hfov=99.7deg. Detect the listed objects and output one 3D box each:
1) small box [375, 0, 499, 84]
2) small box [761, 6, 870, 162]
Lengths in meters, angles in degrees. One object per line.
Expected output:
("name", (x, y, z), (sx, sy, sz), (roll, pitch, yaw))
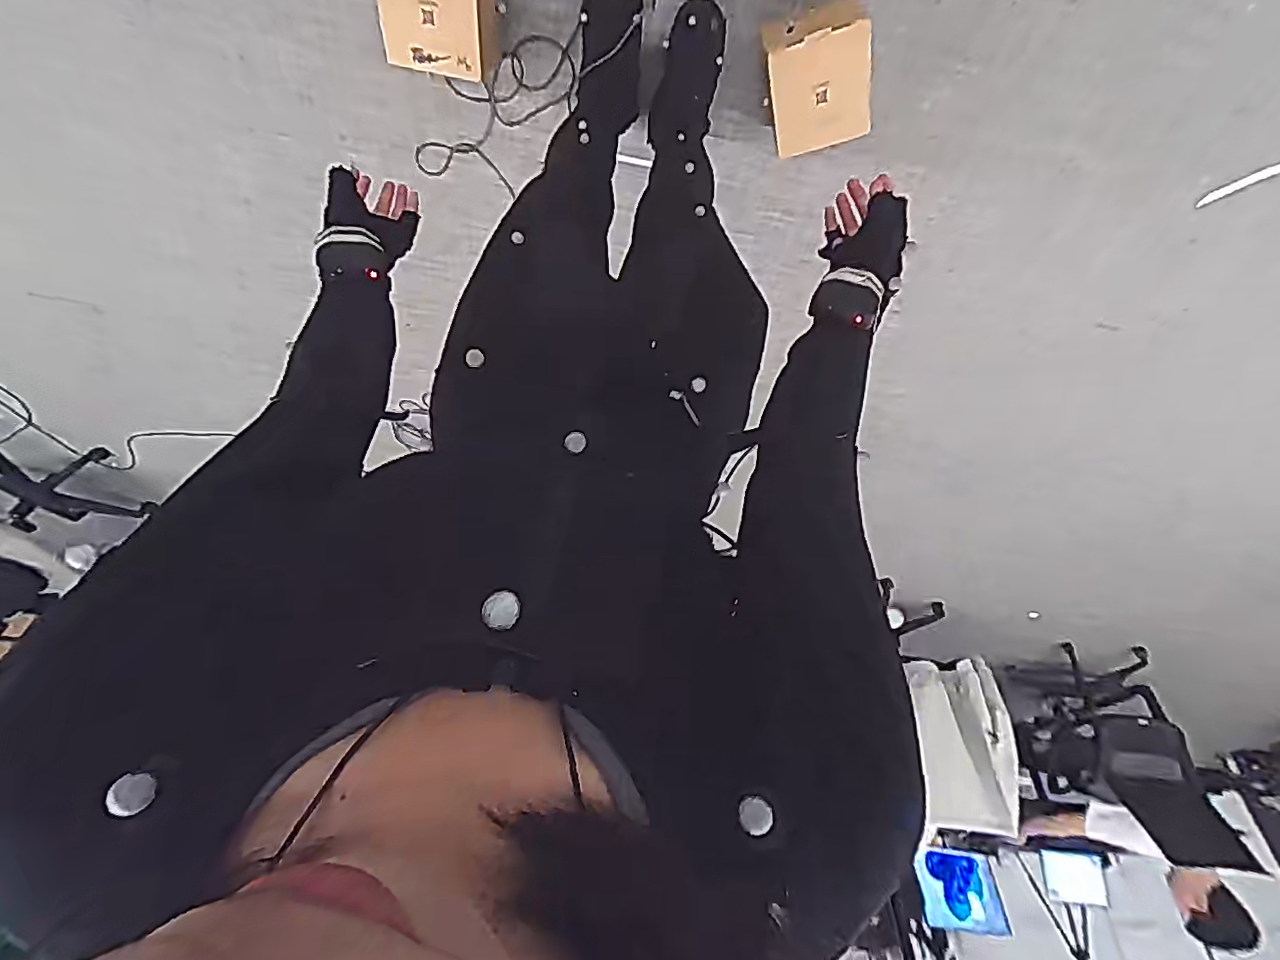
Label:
("small box", (-0.344, -0.824, 0.932), (0.168, 0.176, 0.179), (9, 138, -5))
("small box", (0.317, -0.726, 0.988), (0.168, 0.176, 0.179), (-8, 140, 17))
